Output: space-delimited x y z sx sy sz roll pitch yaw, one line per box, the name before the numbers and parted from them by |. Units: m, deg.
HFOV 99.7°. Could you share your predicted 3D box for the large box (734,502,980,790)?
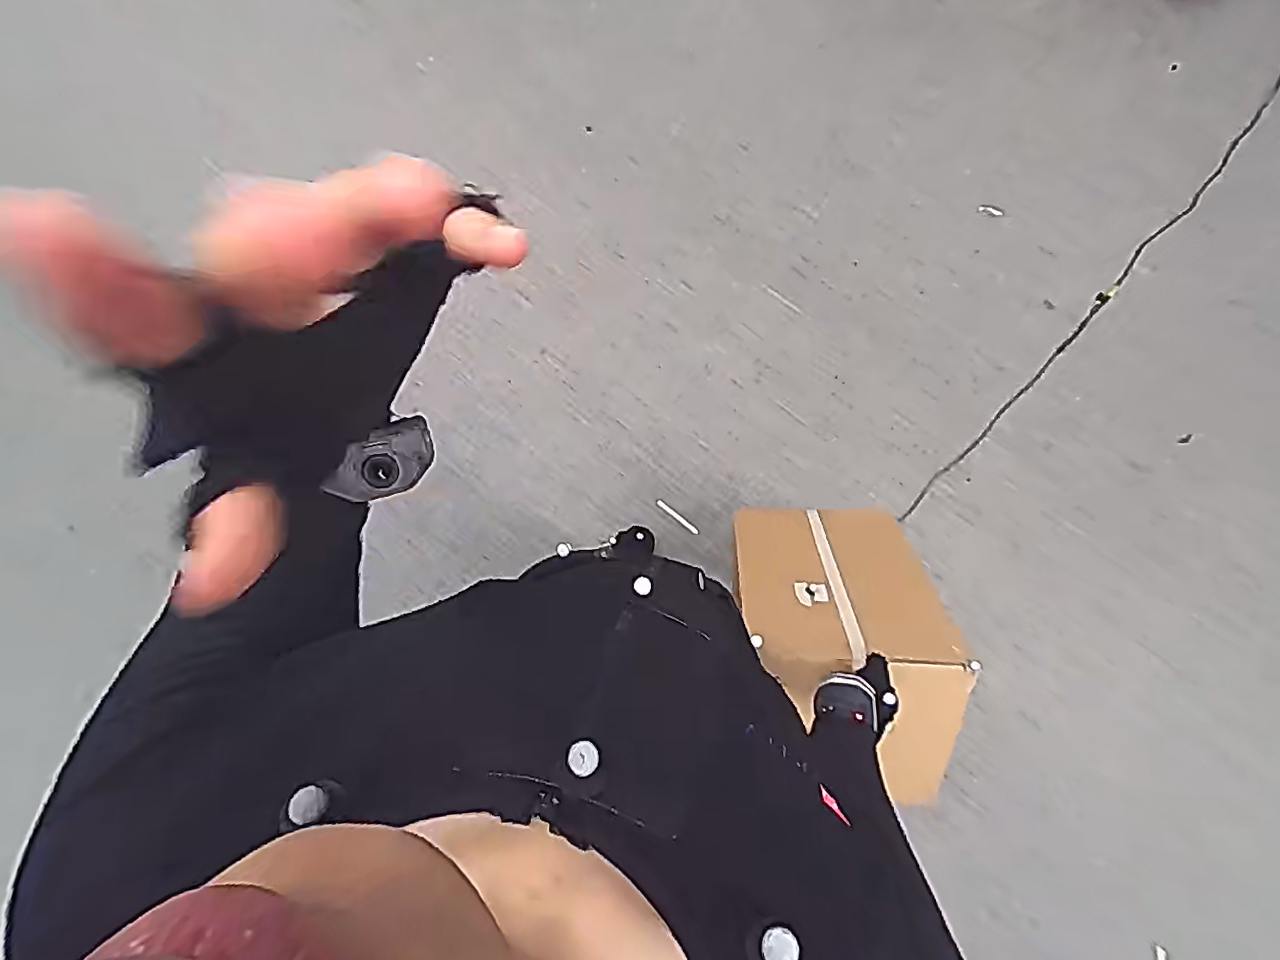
large box | 0.341 0.278 0.995 0.320 0.408 0.320 -1 120 8
